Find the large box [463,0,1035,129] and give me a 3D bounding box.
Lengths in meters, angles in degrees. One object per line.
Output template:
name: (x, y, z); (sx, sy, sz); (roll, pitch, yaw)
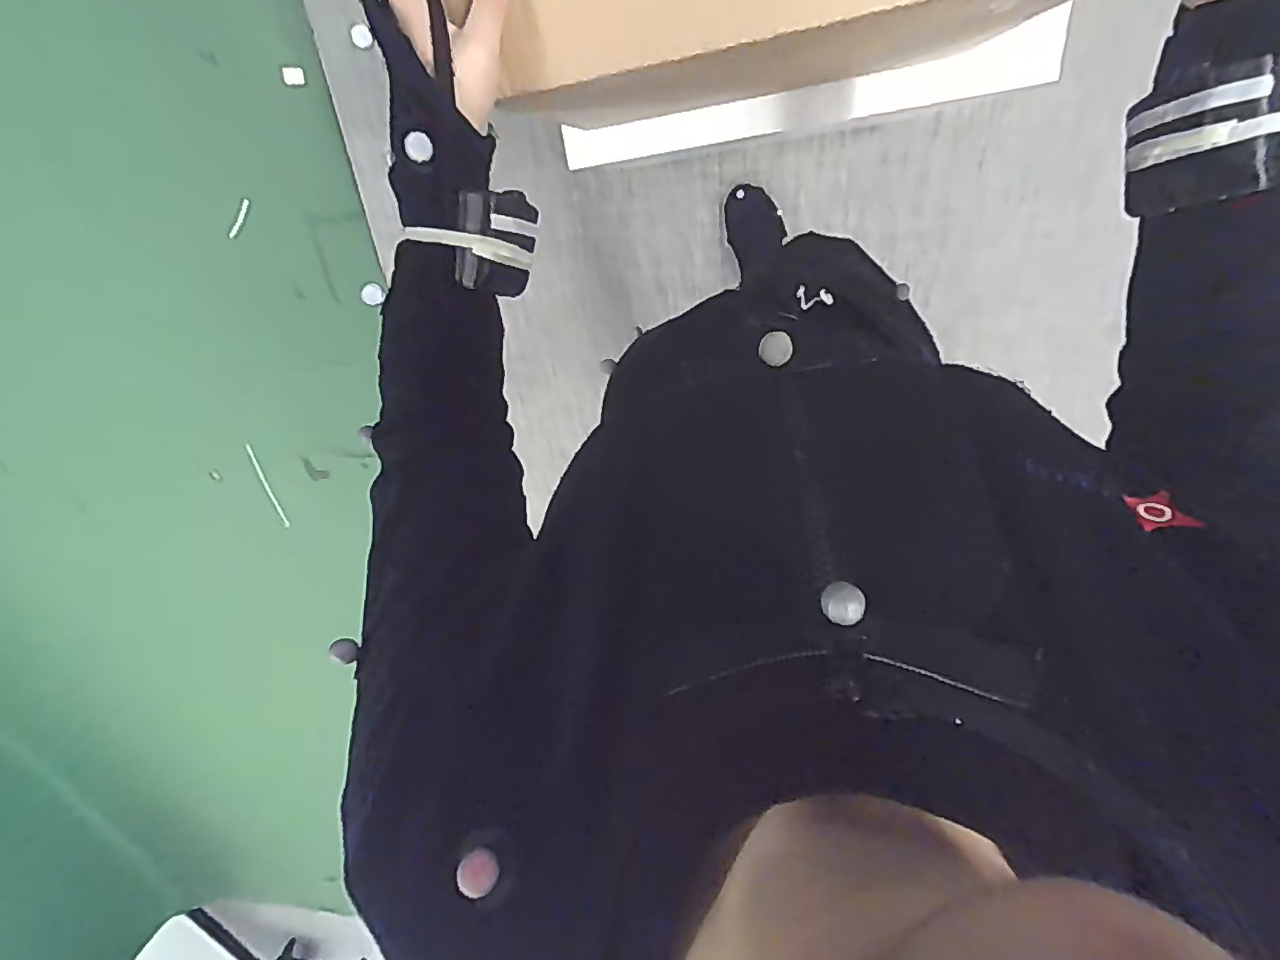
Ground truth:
large box: (0.082, -0.474, 0.377); (0.408, 0.320, 0.320); (-5, 119, 10)
